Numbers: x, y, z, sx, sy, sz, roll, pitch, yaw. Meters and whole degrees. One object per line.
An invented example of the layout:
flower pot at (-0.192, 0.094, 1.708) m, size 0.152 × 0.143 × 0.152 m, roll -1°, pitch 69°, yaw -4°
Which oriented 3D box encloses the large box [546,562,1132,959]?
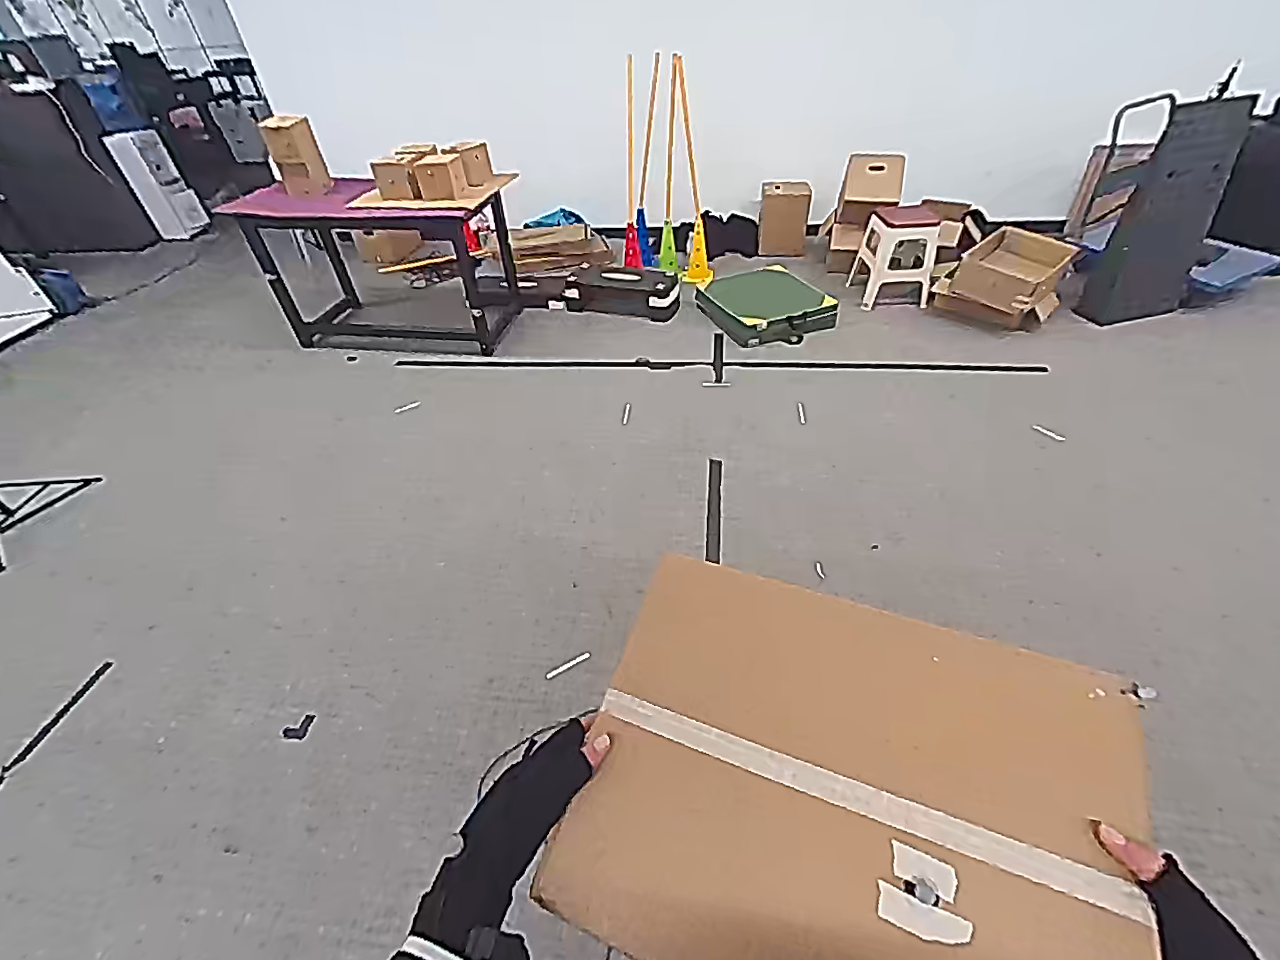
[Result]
large box at (0.178, 0.328, 0.561) m, size 0.408 × 0.320 × 0.320 m, roll 13°, pitch 61°, yaw 19°
